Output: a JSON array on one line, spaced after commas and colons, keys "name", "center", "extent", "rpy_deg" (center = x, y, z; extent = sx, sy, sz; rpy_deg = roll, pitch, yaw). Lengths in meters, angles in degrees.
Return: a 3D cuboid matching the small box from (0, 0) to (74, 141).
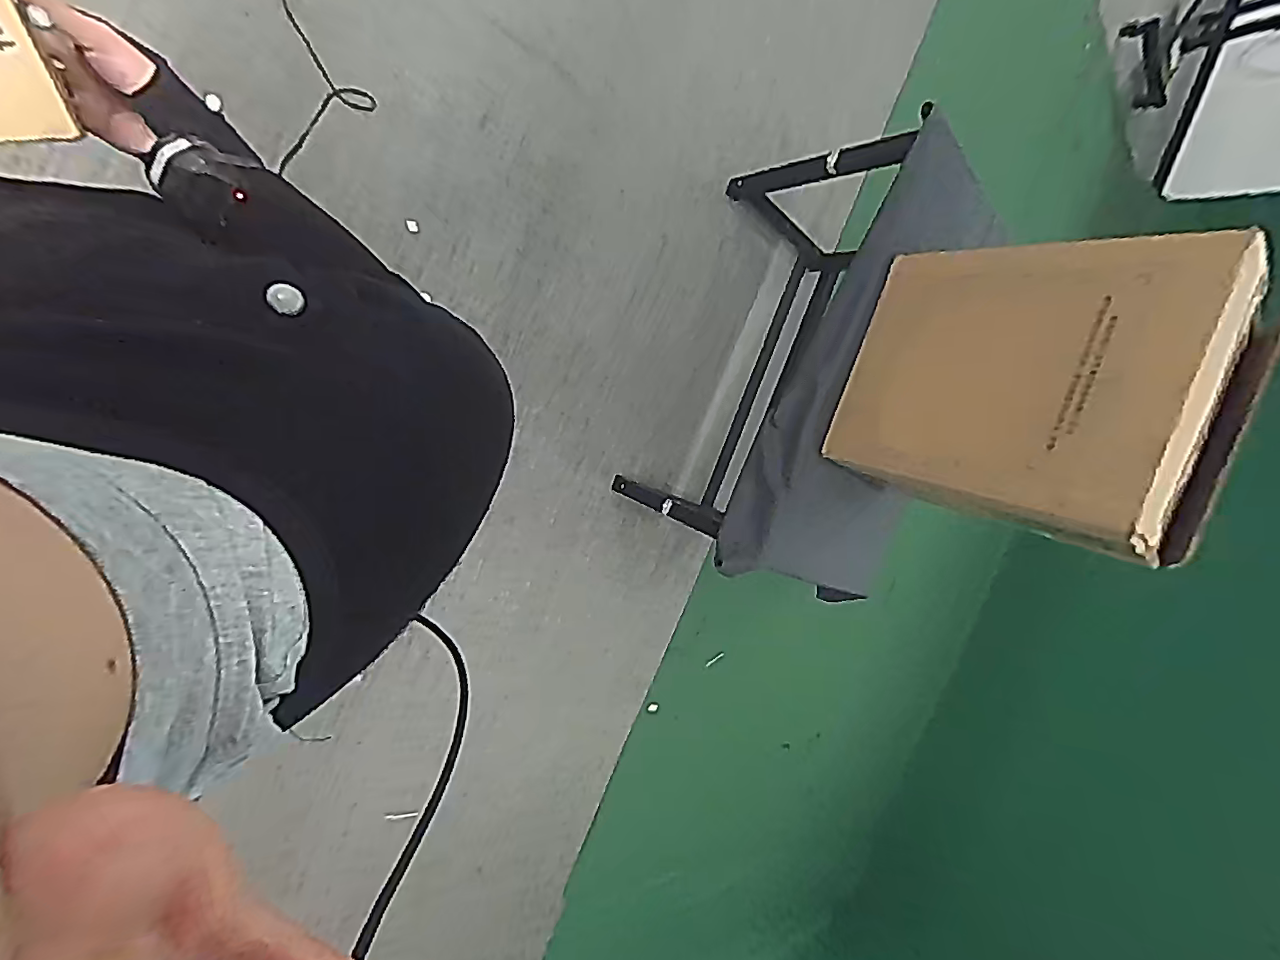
[{"name": "small box", "center": [-0.490, -0.296, 0.316], "extent": [0.179, 0.176, 0.168], "rpy_deg": [-24, 132, -31]}]
